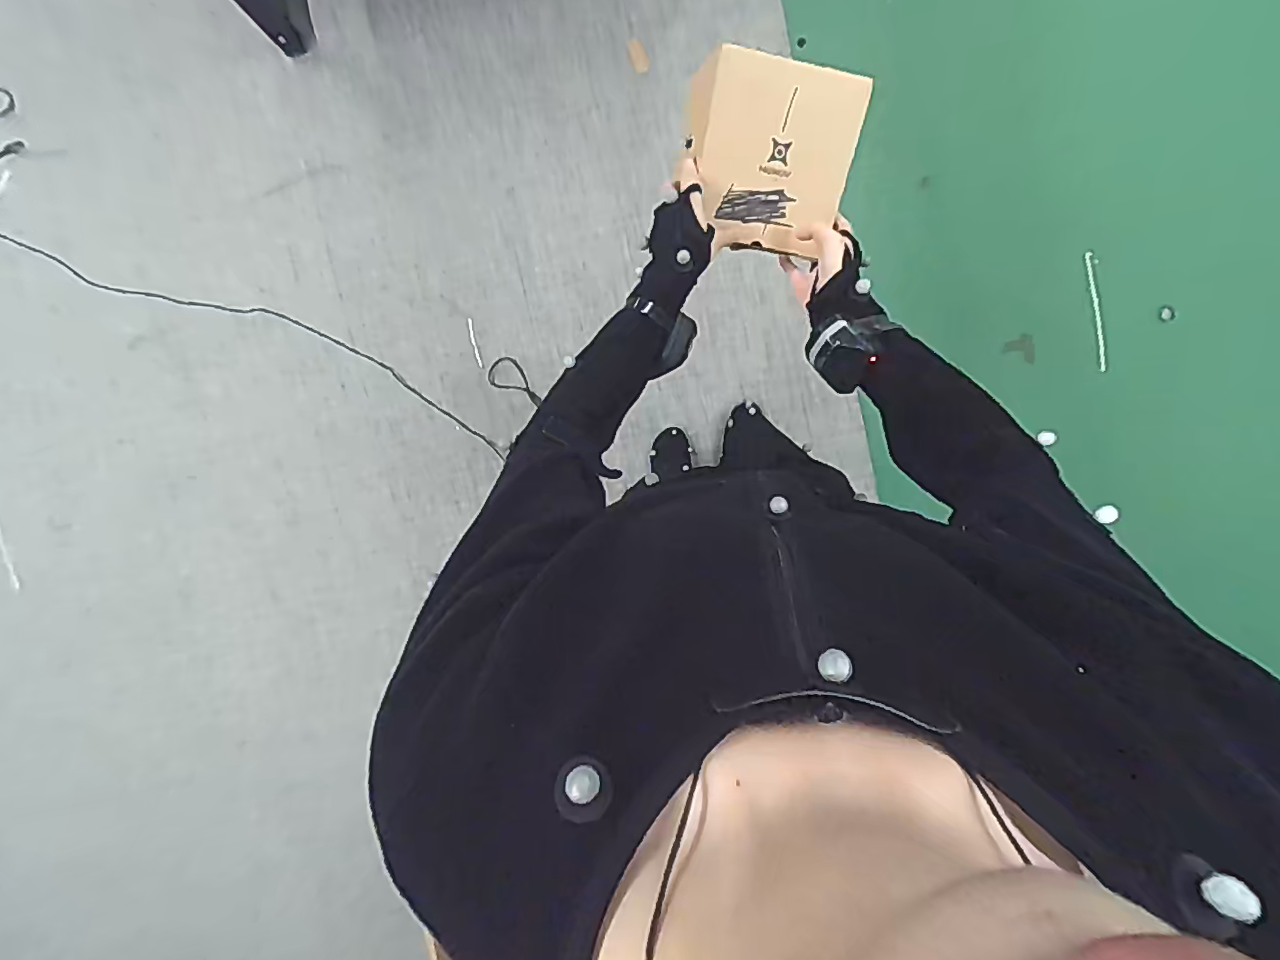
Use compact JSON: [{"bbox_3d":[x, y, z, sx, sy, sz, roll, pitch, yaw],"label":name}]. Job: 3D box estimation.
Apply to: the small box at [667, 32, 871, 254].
[{"bbox_3d":[0.132,-0.376,0.634,0.168,0.176,0.179,6,115,-9],"label":"small box"}]
